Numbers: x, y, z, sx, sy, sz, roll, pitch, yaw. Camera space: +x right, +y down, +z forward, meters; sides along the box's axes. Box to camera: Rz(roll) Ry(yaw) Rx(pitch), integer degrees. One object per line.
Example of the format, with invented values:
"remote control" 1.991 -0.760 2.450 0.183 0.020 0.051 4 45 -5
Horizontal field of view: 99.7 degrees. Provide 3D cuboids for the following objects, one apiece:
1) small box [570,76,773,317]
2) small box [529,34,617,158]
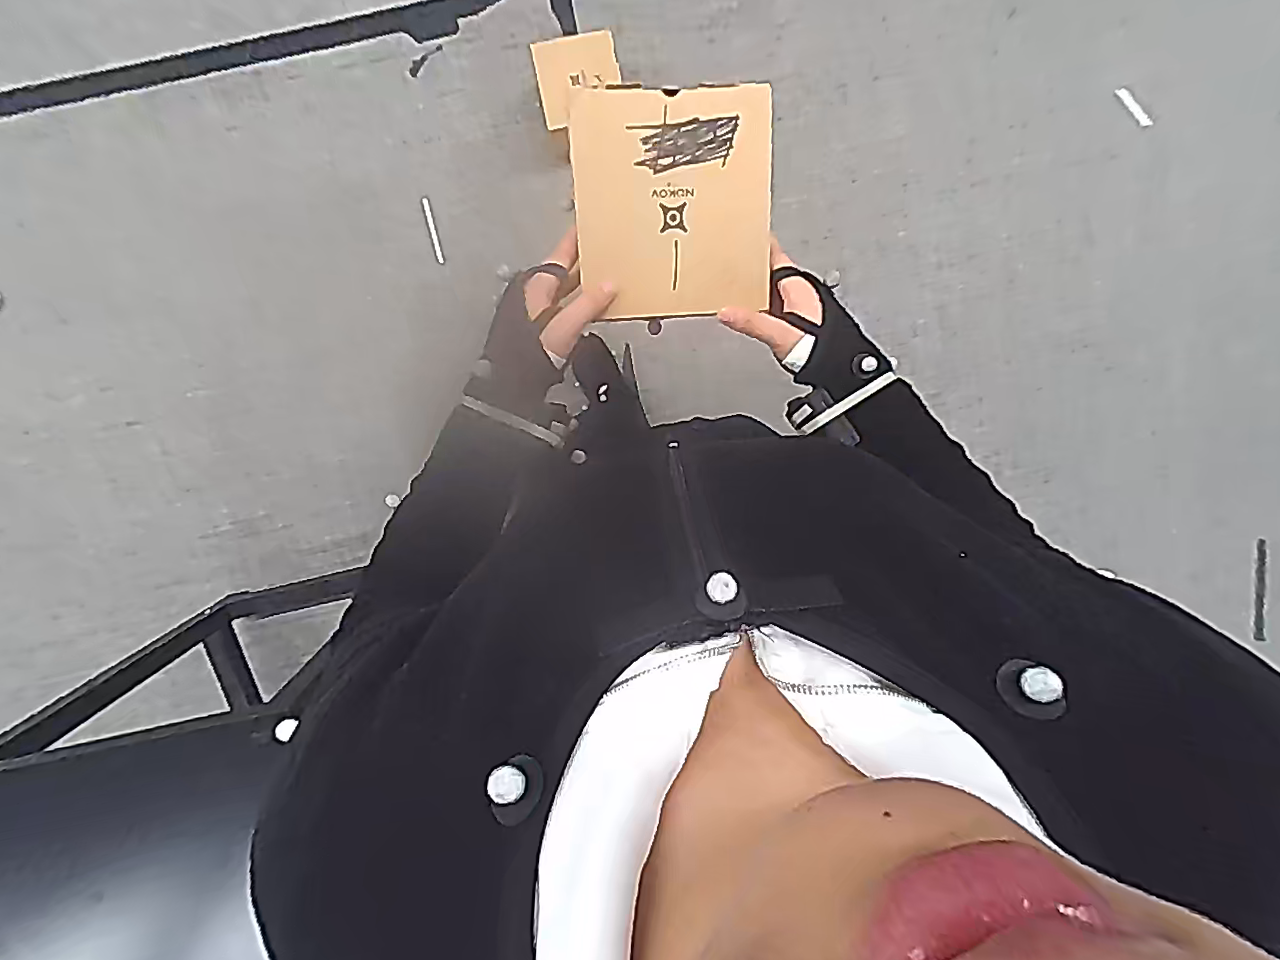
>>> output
"small box" 0.020 -0.253 0.522 0.168 0.176 0.179 -4 107 -5
"small box" -0.139 -0.855 1.220 0.179 0.176 0.168 -12 104 -3
